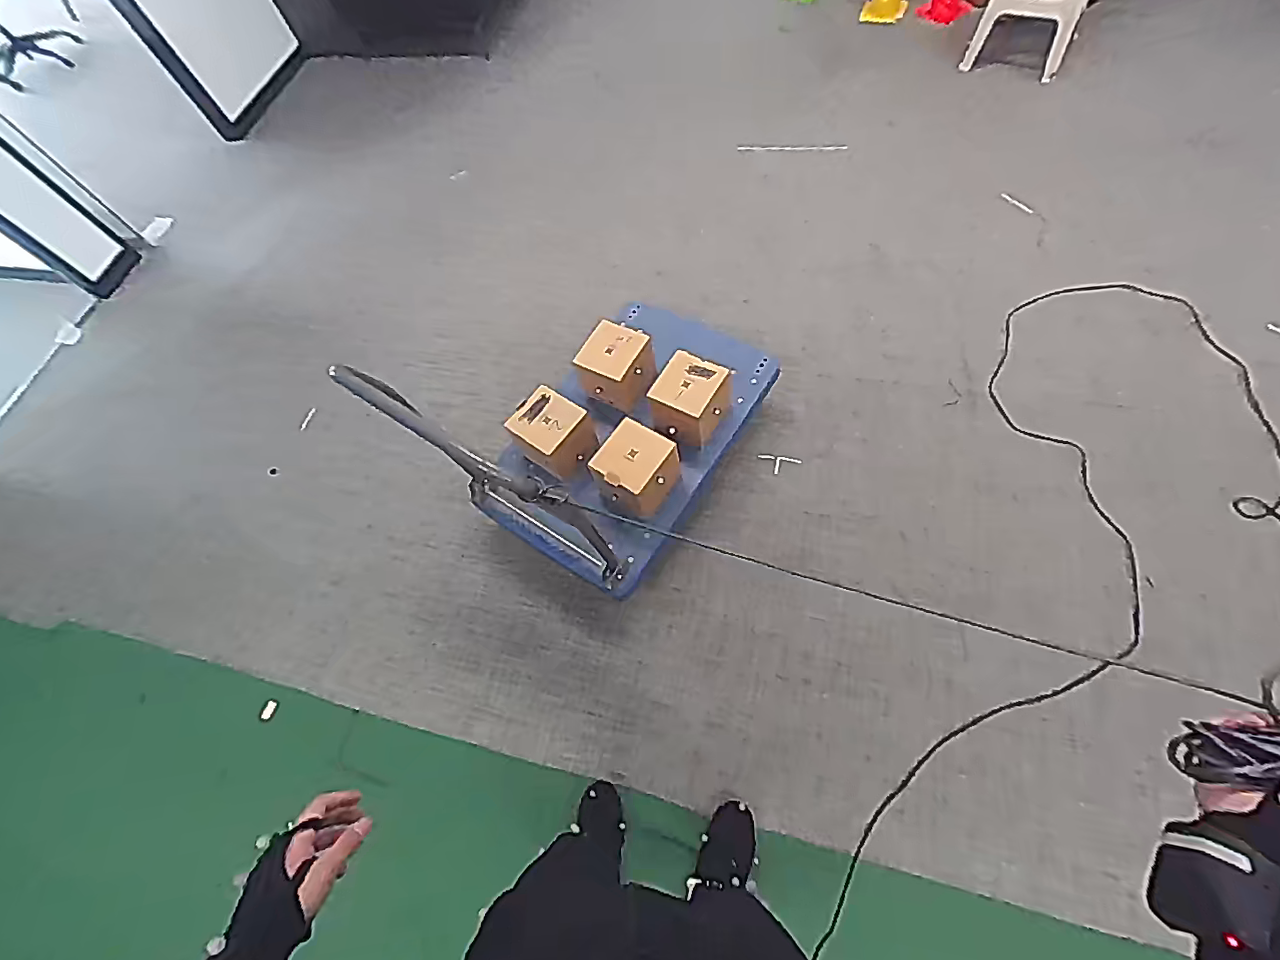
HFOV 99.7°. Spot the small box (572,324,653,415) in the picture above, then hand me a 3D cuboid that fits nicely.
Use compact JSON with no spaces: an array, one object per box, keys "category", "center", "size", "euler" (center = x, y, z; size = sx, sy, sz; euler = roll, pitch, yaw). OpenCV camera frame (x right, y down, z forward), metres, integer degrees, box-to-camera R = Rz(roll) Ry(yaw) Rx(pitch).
[{"category":"small box","center":[-0.074,-0.324,1.611],"size":[0.168,0.176,0.179],"euler":[26,70,19]}]

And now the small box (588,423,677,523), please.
[{"category":"small box","center":[-0.012,-0.016,1.450],"size":[0.168,0.176,0.179],"euler":[30,73,21]}]

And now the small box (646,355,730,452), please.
[{"category":"small box","center":[0.139,-0.213,1.521],"size":[0.168,0.176,0.179],"euler":[27,72,21]}]
